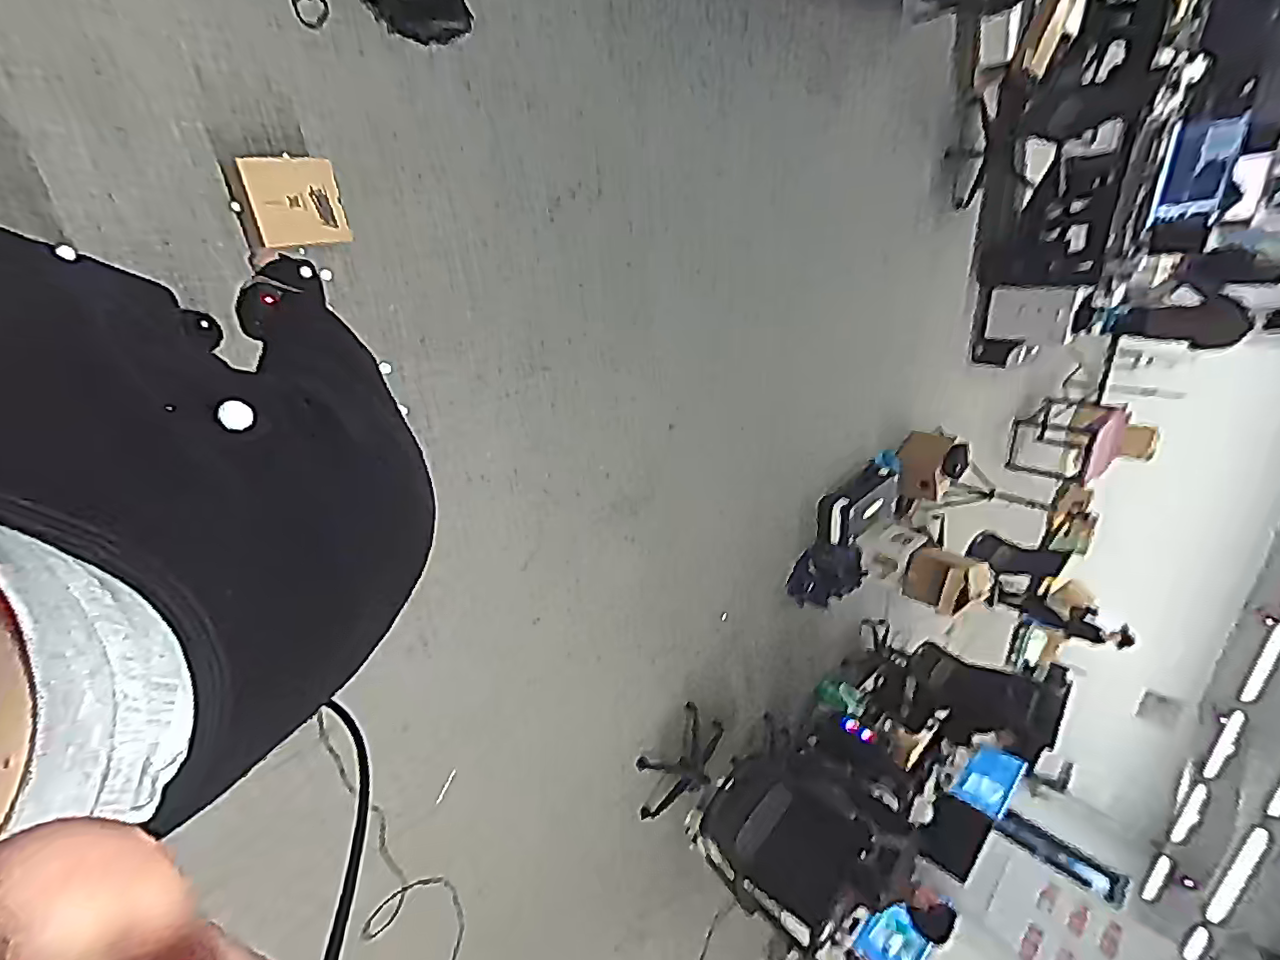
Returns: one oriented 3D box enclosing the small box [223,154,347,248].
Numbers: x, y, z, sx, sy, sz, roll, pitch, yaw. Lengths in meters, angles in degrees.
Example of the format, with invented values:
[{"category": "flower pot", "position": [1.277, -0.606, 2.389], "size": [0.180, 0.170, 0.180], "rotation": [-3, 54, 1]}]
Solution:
[{"category": "small box", "position": [-0.781, -0.609, 1.190], "size": [0.179, 0.176, 0.168], "rotation": [-23, 120, -35]}]
